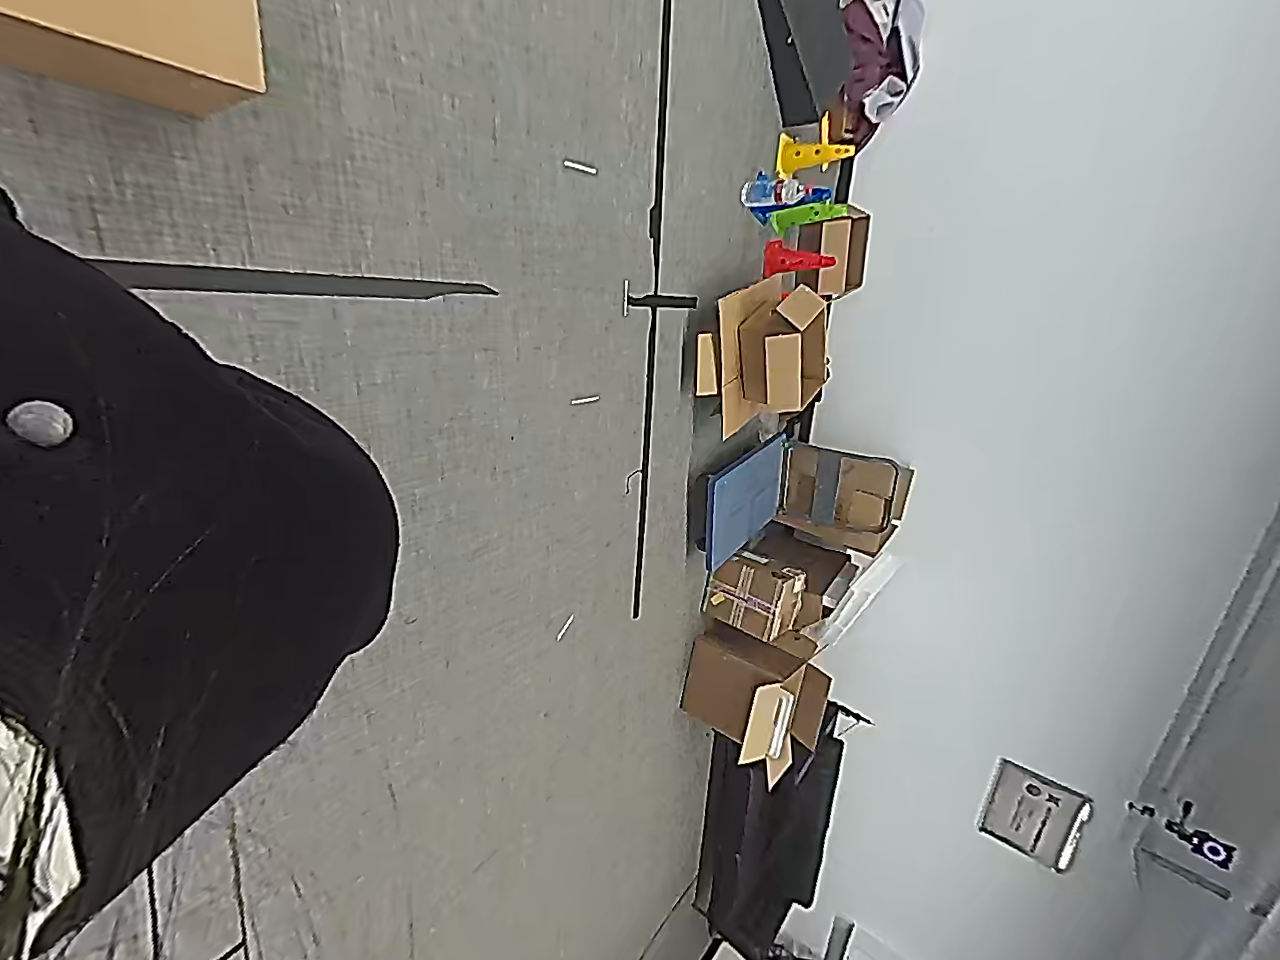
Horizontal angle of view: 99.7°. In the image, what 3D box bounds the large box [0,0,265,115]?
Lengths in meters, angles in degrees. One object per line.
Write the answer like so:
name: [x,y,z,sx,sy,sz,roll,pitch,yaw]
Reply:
large box: [-0.855,-0.789,0.789,0.408,0.320,0.320,-18,119,-51]
